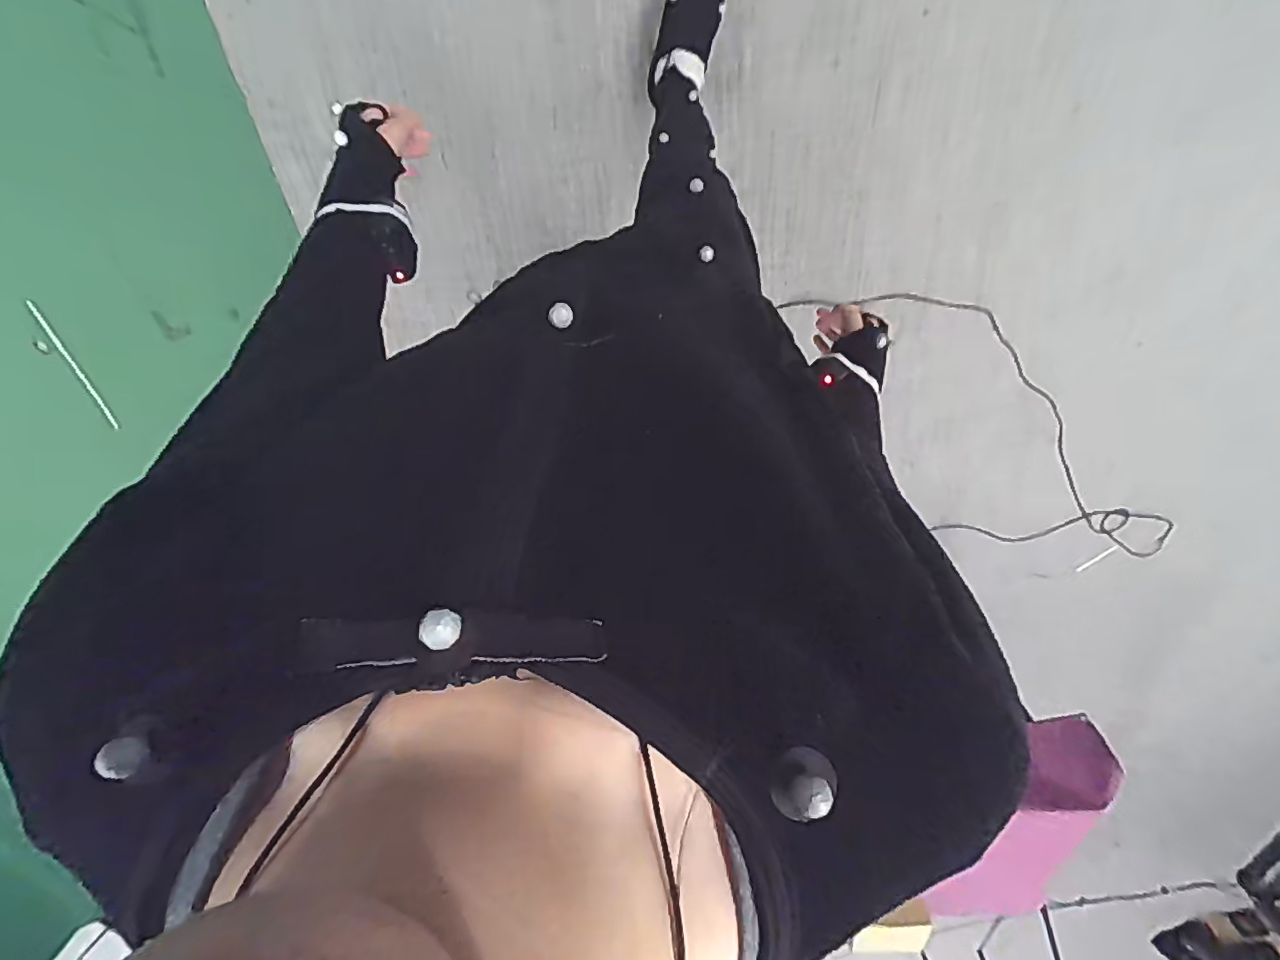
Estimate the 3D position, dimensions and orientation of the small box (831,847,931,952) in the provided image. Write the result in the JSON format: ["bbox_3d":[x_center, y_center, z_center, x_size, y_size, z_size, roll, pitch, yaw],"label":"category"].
[{"bbox_3d":[0.597,1.057,1.366,0.179,0.176,0.168,-4,123,3],"label":"small box"}]
